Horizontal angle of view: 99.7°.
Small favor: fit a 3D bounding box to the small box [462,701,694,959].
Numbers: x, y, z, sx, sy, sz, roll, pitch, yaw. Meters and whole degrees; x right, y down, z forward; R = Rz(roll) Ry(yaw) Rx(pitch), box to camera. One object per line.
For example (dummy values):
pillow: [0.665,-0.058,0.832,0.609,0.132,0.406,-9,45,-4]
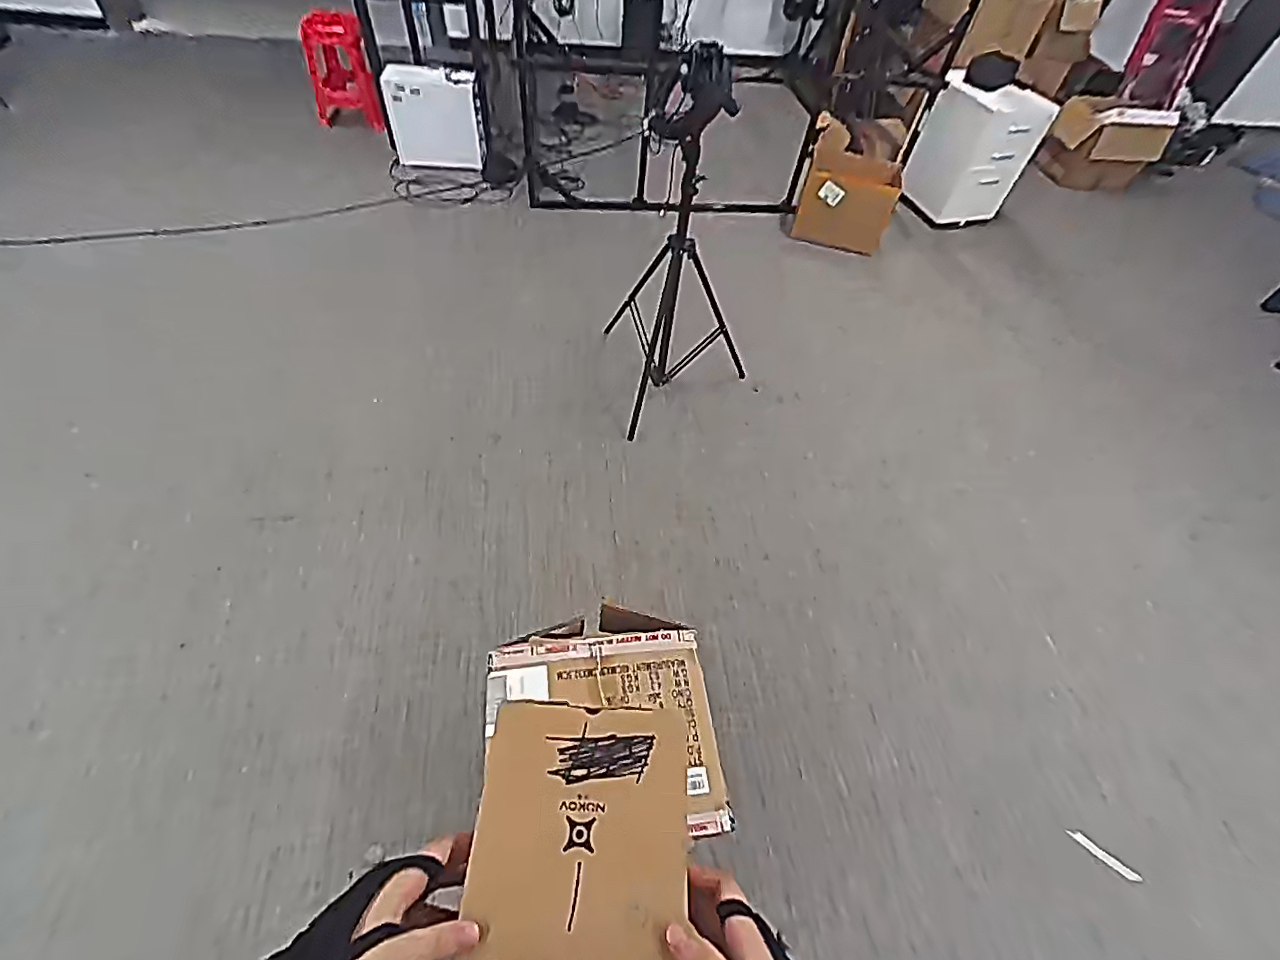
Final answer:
small box: [-0.043,0.316,0.488,0.168,0.176,0.179,2,54,0]
